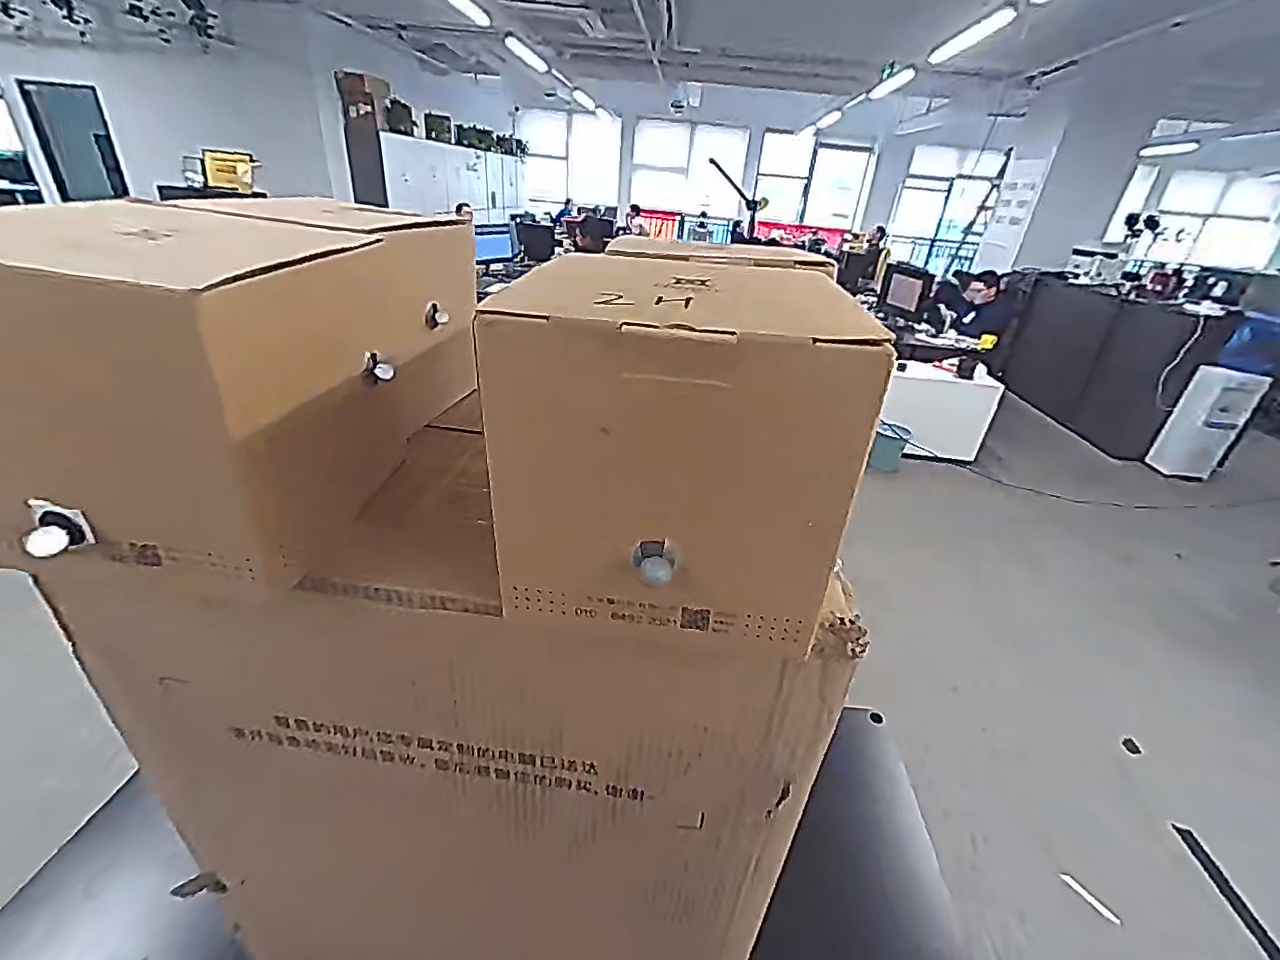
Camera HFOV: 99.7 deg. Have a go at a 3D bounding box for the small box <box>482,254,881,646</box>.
[{"bbox_3d":[0.020,-0.031,0.327,0.168,0.176,0.179,5,31,5],"label":"small box"}]
